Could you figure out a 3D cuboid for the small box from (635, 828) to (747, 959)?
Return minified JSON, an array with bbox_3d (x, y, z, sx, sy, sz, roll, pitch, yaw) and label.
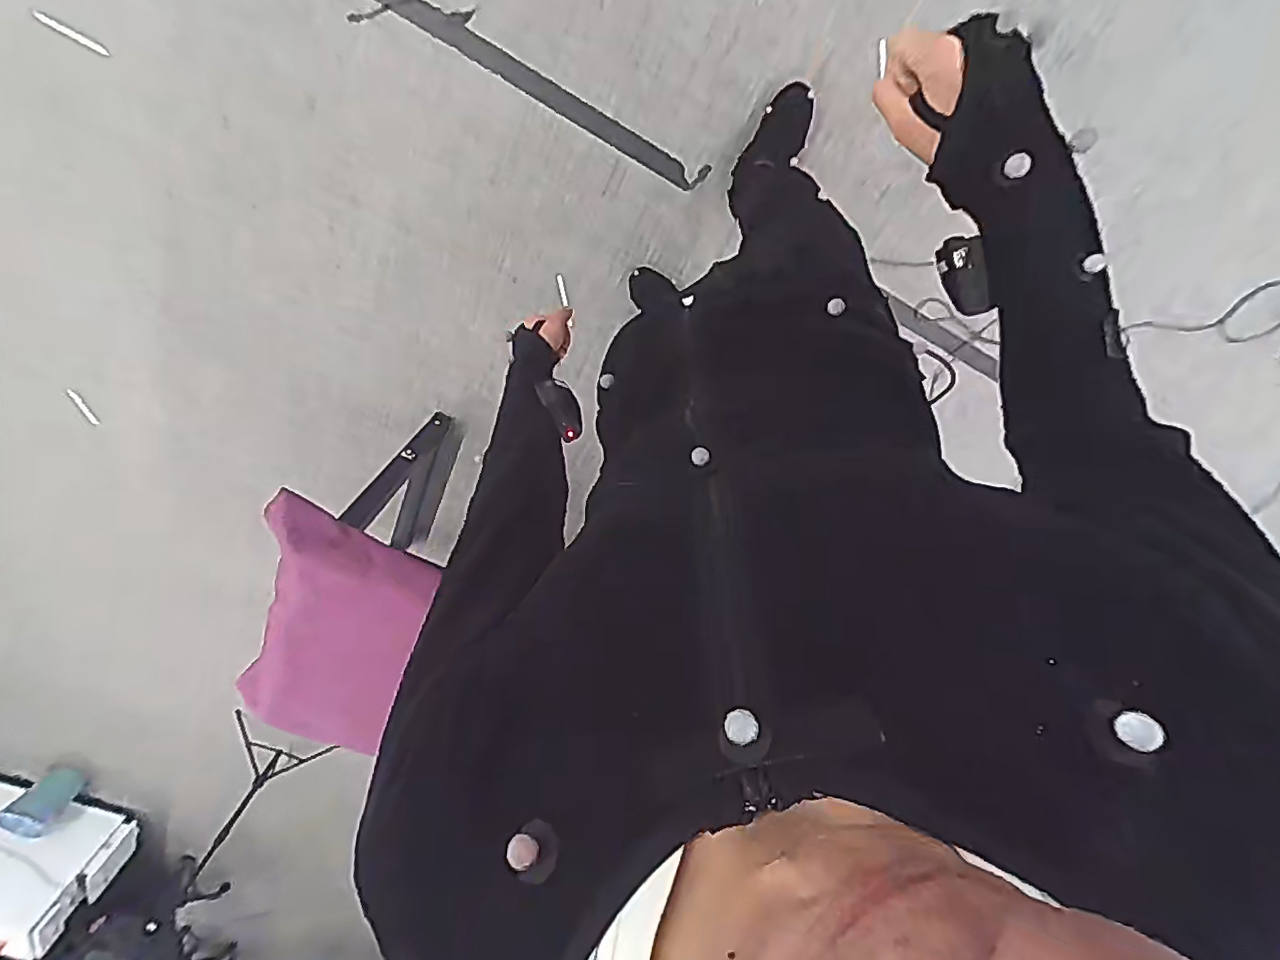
[{"bbox_3d":[0.109,0.888,1.156,0.168,0.176,0.179,27,119,-11],"label":"small box"}]
